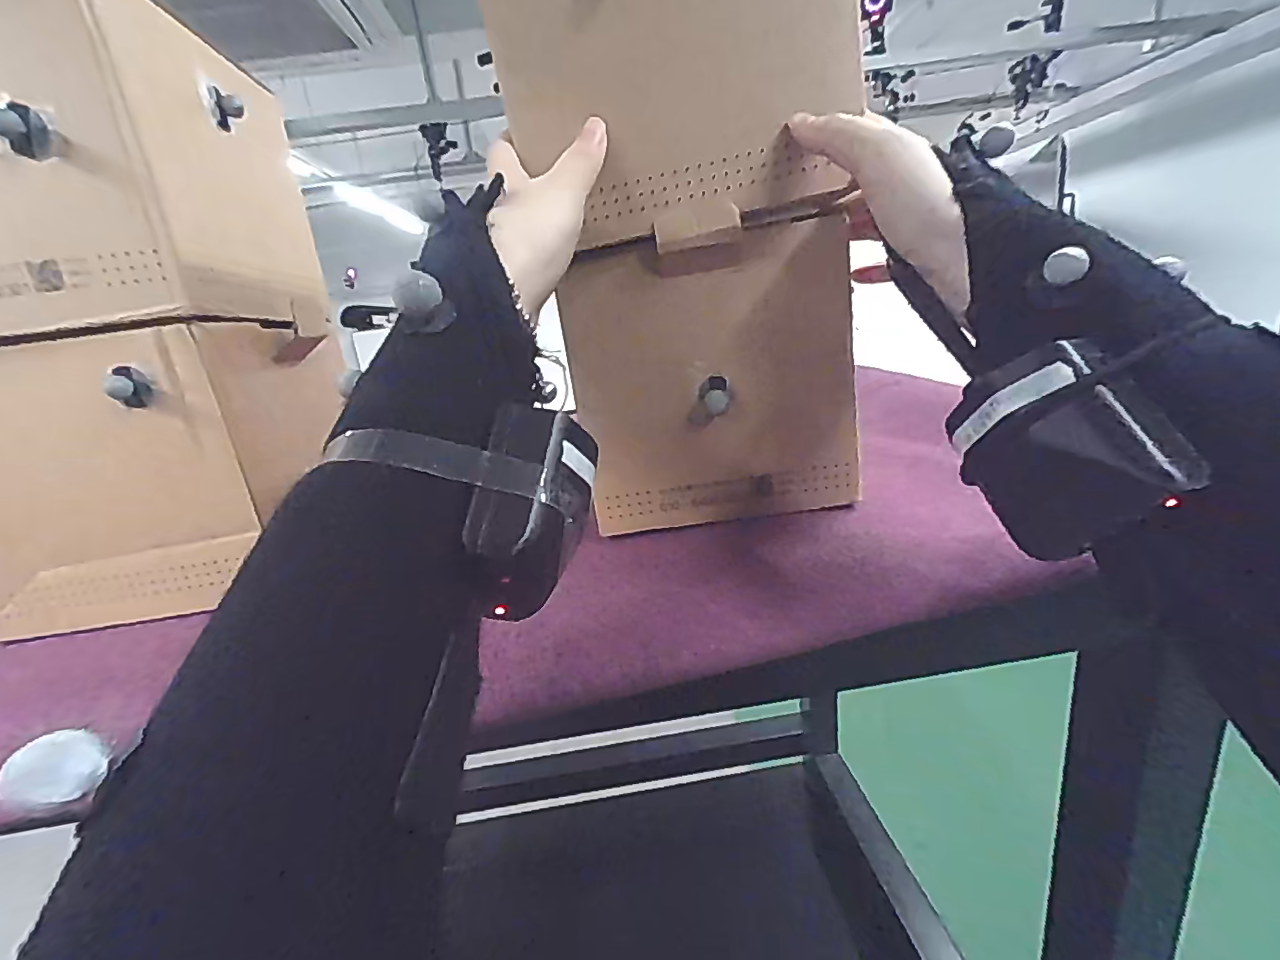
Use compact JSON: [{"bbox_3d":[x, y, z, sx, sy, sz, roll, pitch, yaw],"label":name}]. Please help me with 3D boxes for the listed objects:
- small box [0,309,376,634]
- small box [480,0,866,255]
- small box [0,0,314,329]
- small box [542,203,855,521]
[{"bbox_3d":[-0.314,-0.014,0.367,0.179,0.176,0.168,-8,16,-3],"label":"small box"},{"bbox_3d":[0.015,-0.235,0.322,0.179,0.176,0.168,-11,18,5],"label":"small box"},{"bbox_3d":[-0.329,-0.169,0.323,0.168,0.176,0.179,-8,14,-5],"label":"small box"},{"bbox_3d":[0.043,-0.075,0.385,0.168,0.176,0.179,-8,15,4],"label":"small box"}]
